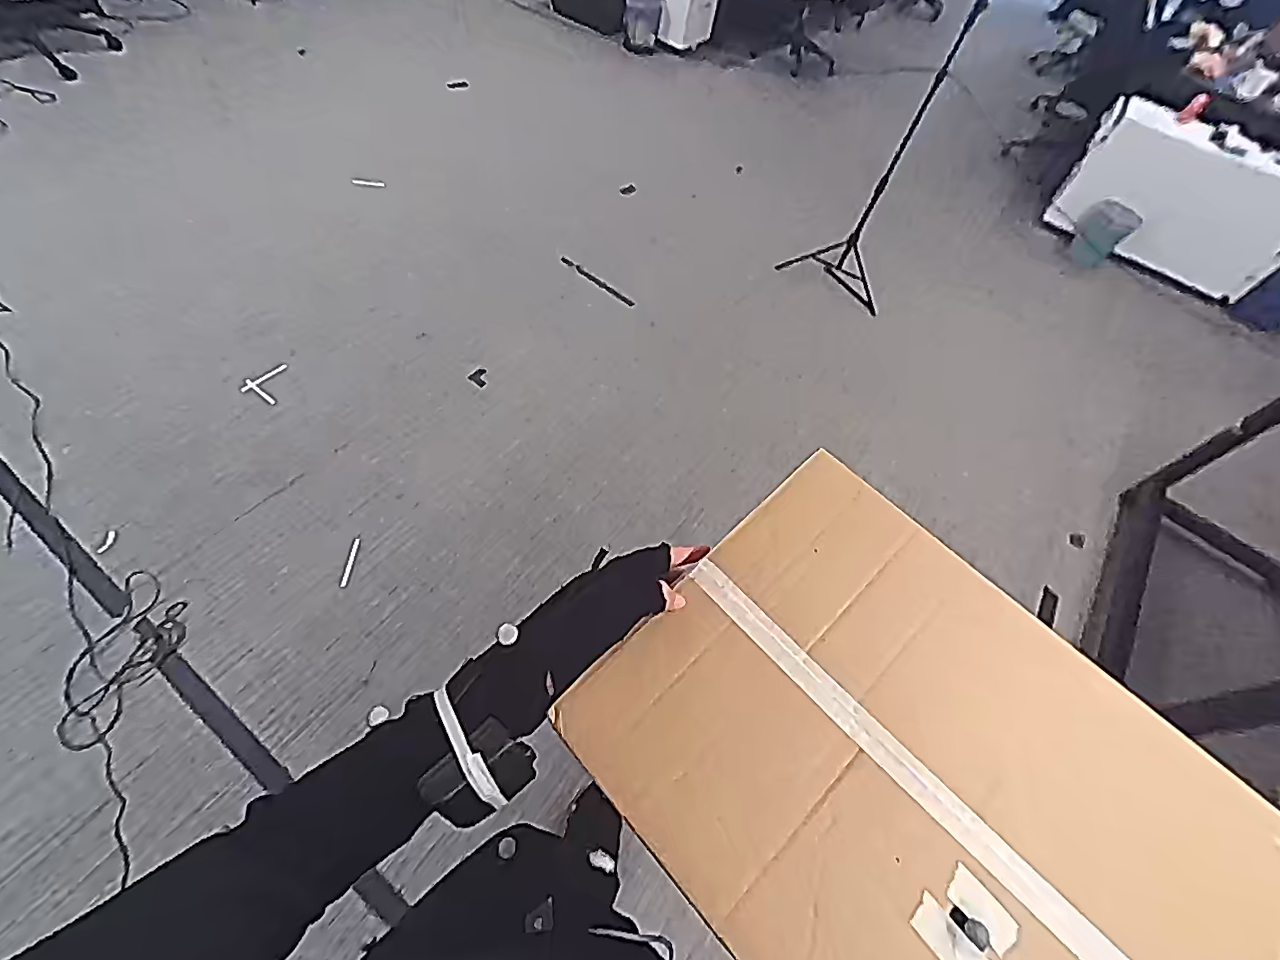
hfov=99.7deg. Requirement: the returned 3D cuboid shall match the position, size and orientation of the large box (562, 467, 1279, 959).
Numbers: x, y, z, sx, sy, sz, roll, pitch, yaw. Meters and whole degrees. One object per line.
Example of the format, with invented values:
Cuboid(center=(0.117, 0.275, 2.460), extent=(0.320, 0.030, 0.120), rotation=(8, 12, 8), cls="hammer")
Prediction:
Cuboid(center=(0.185, 0.269, 0.510), extent=(0.320, 0.320, 0.408), rotation=(-40, 70, -17), cls="large box")
